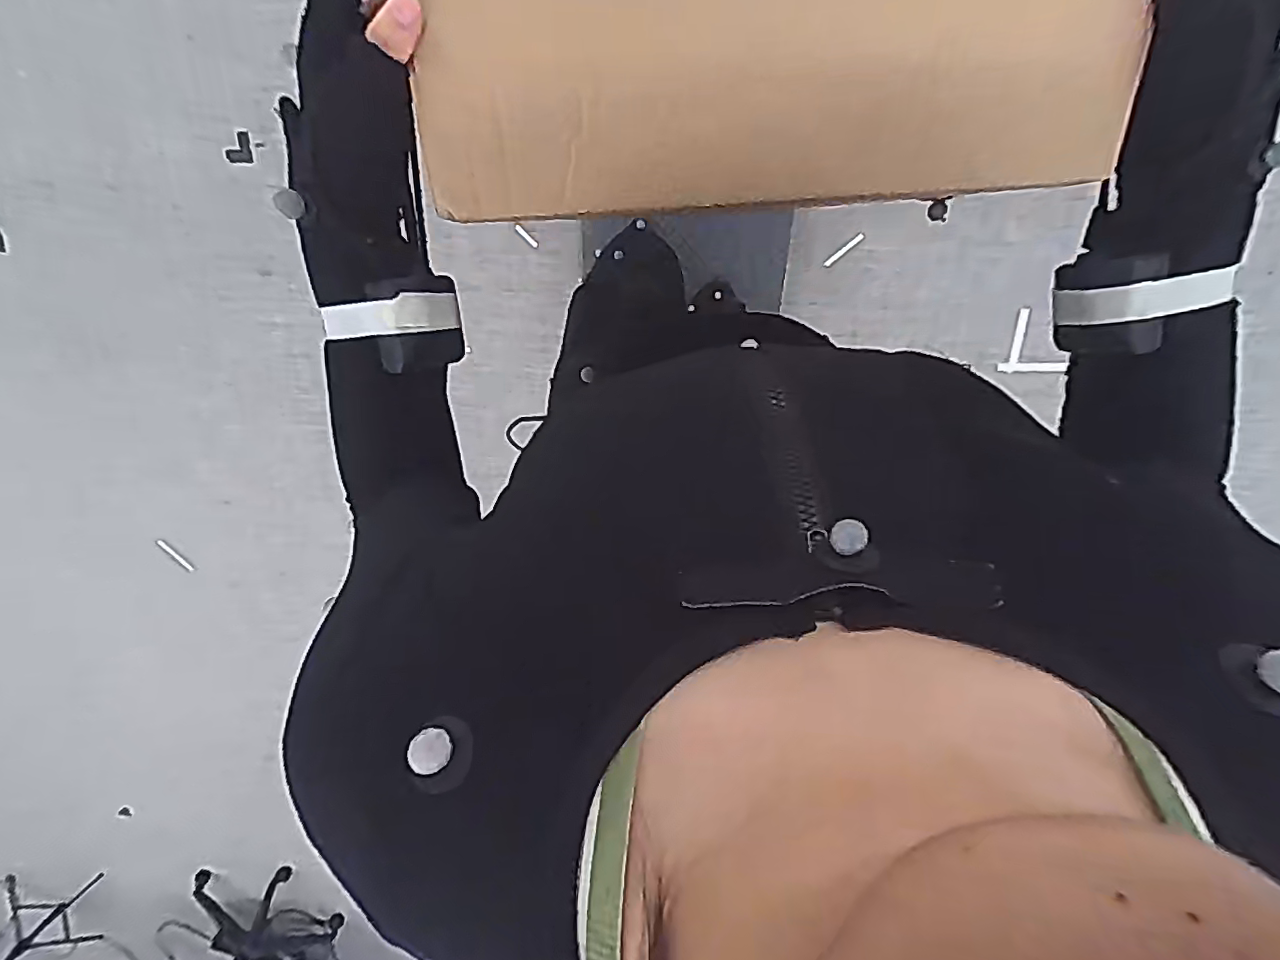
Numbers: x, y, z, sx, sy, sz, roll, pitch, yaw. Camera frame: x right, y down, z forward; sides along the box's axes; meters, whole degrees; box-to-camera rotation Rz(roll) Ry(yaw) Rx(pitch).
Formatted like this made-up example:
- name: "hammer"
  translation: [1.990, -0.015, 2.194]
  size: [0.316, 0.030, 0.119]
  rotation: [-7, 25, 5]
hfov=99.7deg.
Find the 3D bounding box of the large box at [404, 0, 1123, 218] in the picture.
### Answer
- name: "large box"
  translation: [0.066, -0.382, 0.404]
  size: [0.408, 0.320, 0.320]
  rotation: [-3, 115, 1]
